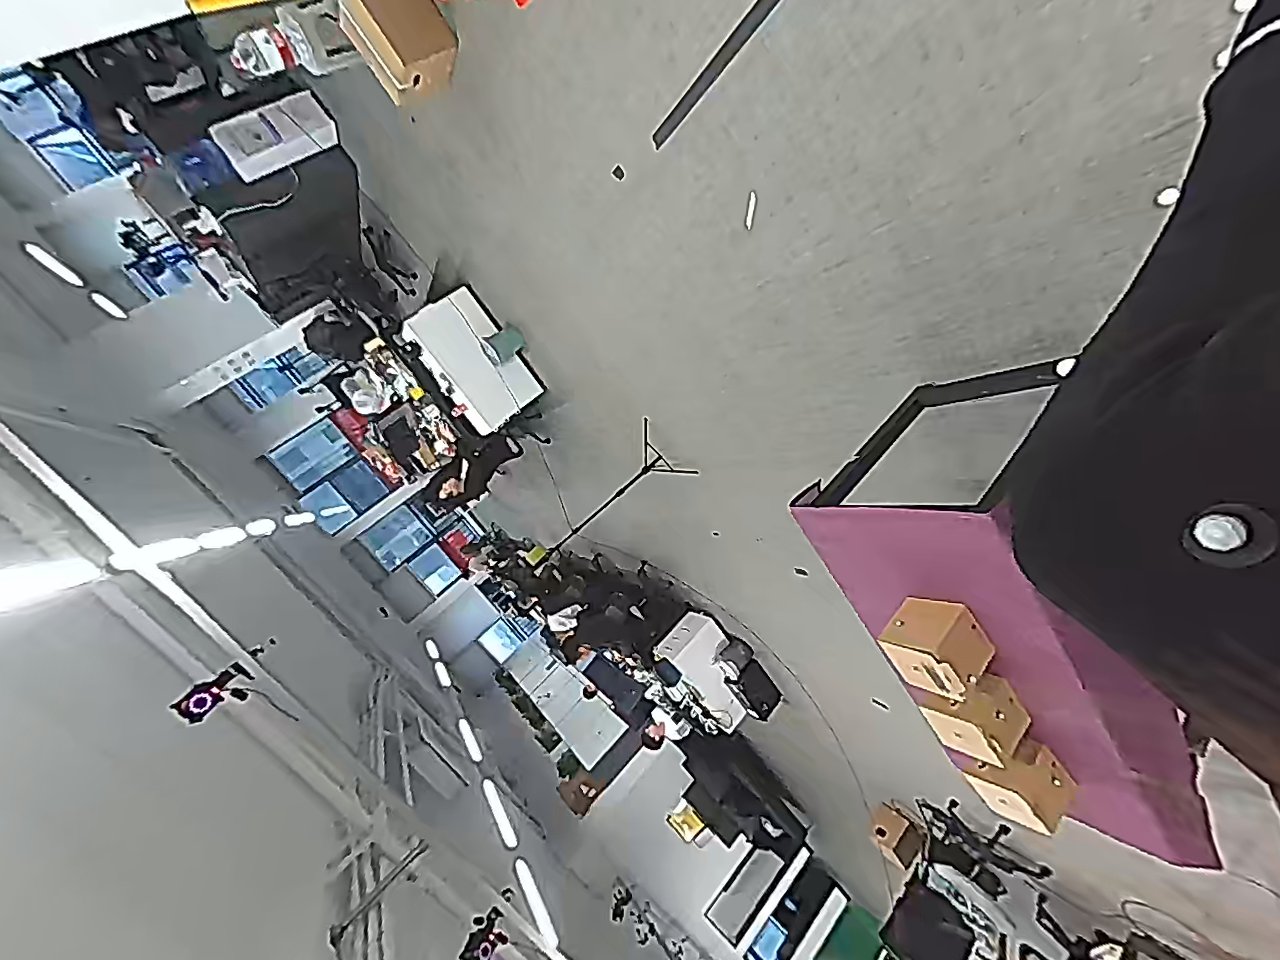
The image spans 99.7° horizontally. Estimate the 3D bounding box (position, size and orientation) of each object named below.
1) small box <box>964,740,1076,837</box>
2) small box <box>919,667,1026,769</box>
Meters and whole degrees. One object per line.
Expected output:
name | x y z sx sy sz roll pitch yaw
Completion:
small box | 1.082 0.856 1.542 0.168 0.176 0.179 50 158 -6
small box | 0.923 0.644 1.491 0.168 0.176 0.179 54 158 -12
